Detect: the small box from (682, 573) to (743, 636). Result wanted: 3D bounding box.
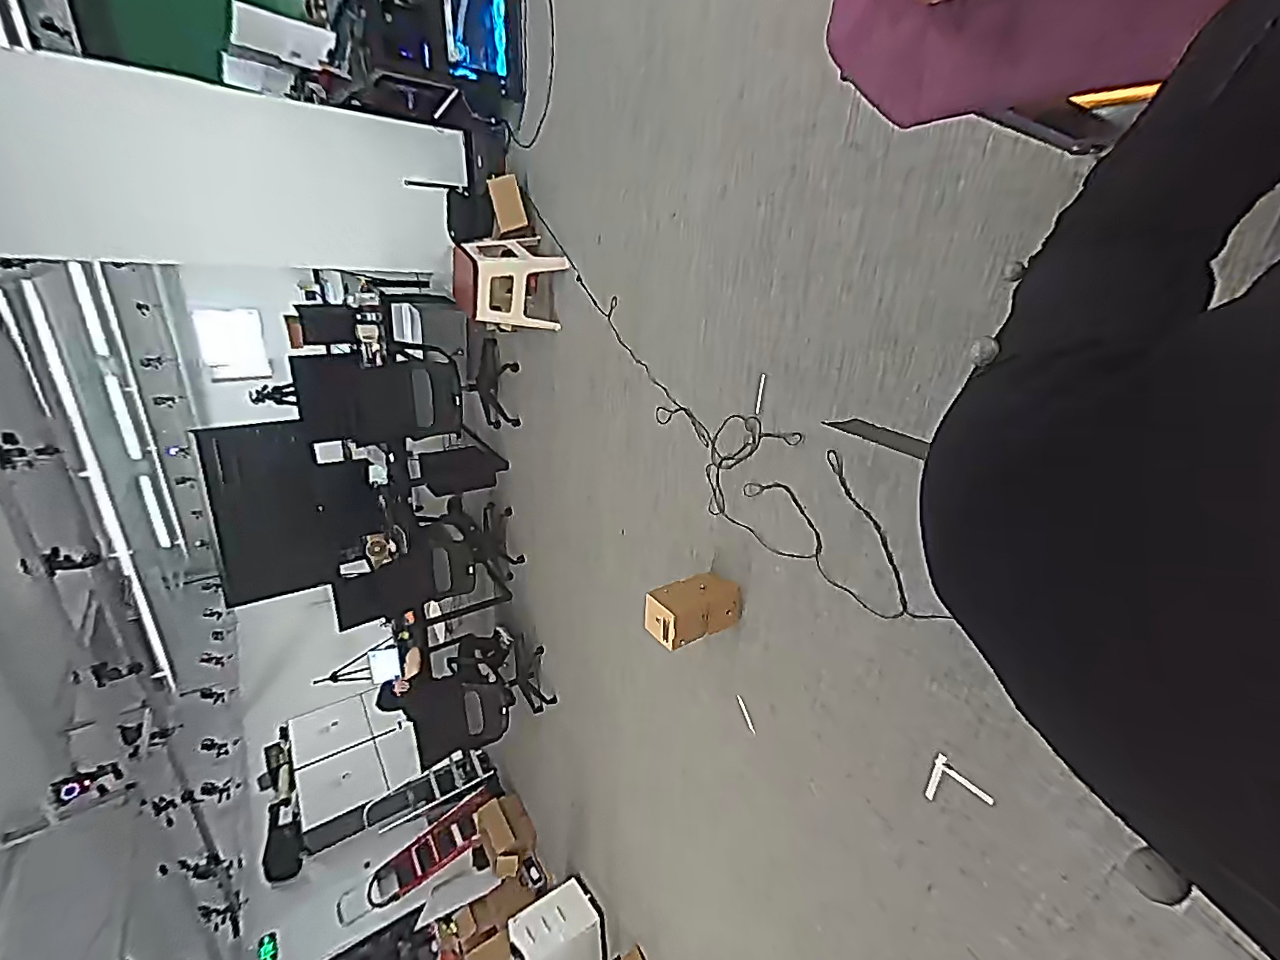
[{"bbox_3d":[0.288,0.490,2.165,0.179,0.176,0.168,24,120,50],"label":"small box"}]
